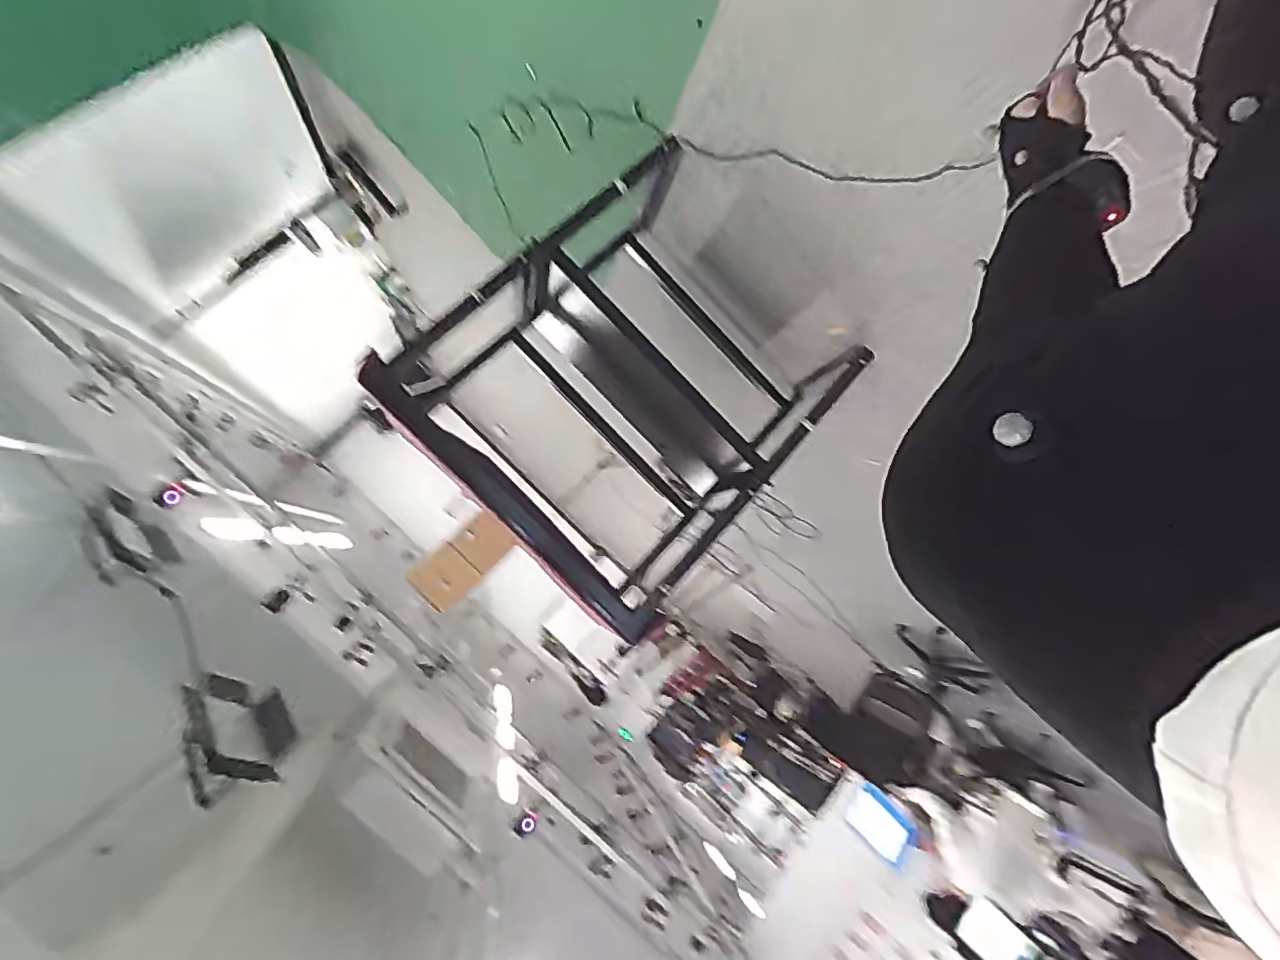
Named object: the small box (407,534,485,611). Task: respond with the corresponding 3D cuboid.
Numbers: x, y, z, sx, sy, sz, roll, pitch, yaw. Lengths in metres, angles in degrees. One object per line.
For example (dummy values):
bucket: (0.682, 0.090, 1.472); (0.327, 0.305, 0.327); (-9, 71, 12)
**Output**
small box: (-0.624, 0.297, 1.763); (0.179, 0.176, 0.168); (46, 164, -7)
